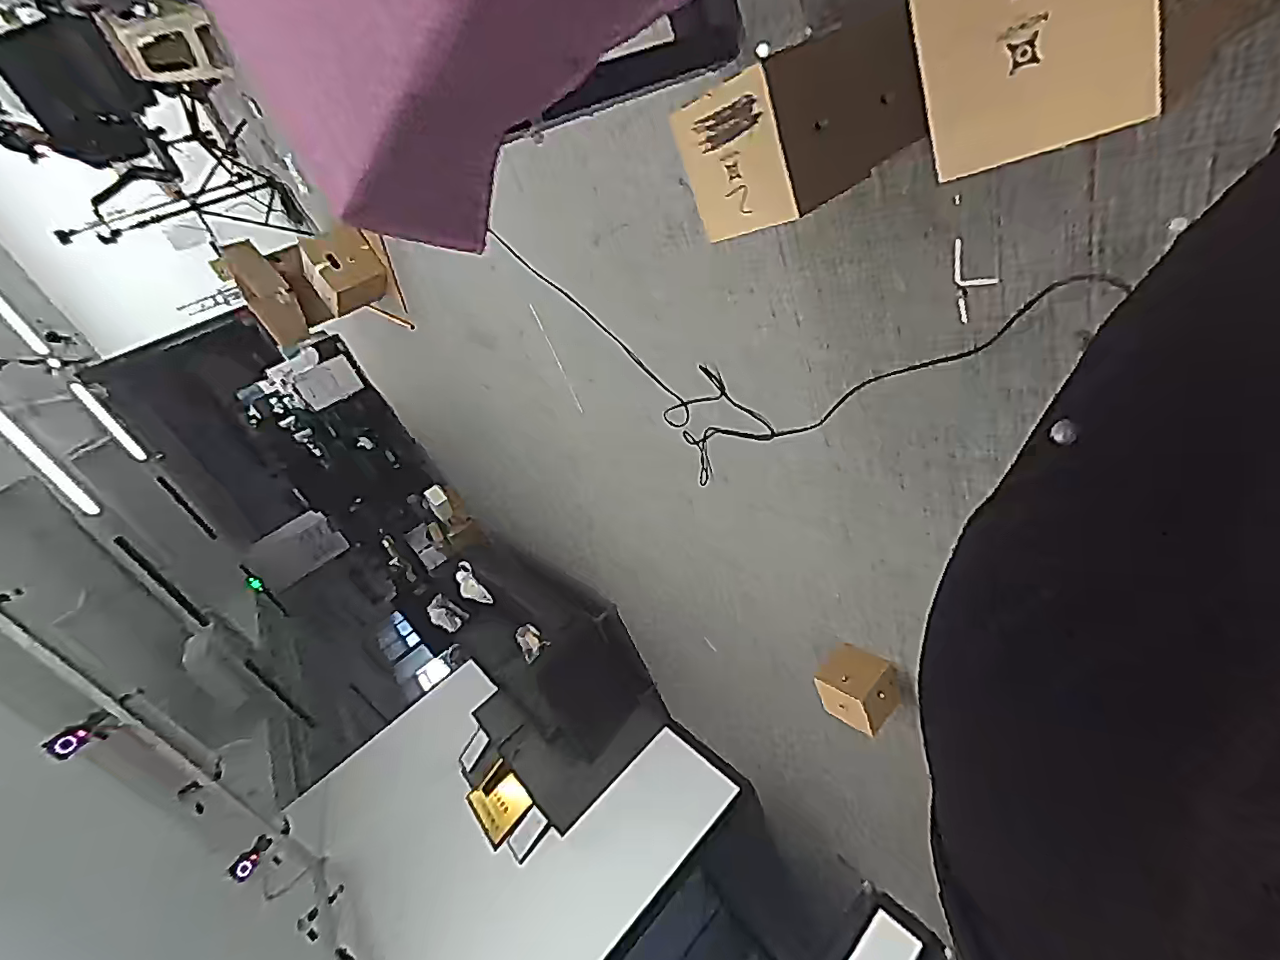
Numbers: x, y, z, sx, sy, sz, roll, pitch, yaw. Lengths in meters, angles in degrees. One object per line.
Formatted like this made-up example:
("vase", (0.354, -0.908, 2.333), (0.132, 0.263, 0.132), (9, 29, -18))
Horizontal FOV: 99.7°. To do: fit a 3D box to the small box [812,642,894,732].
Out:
("small box", (0.683, 0.648, 1.717), (0.179, 0.176, 0.168), (14, 134, 55))
